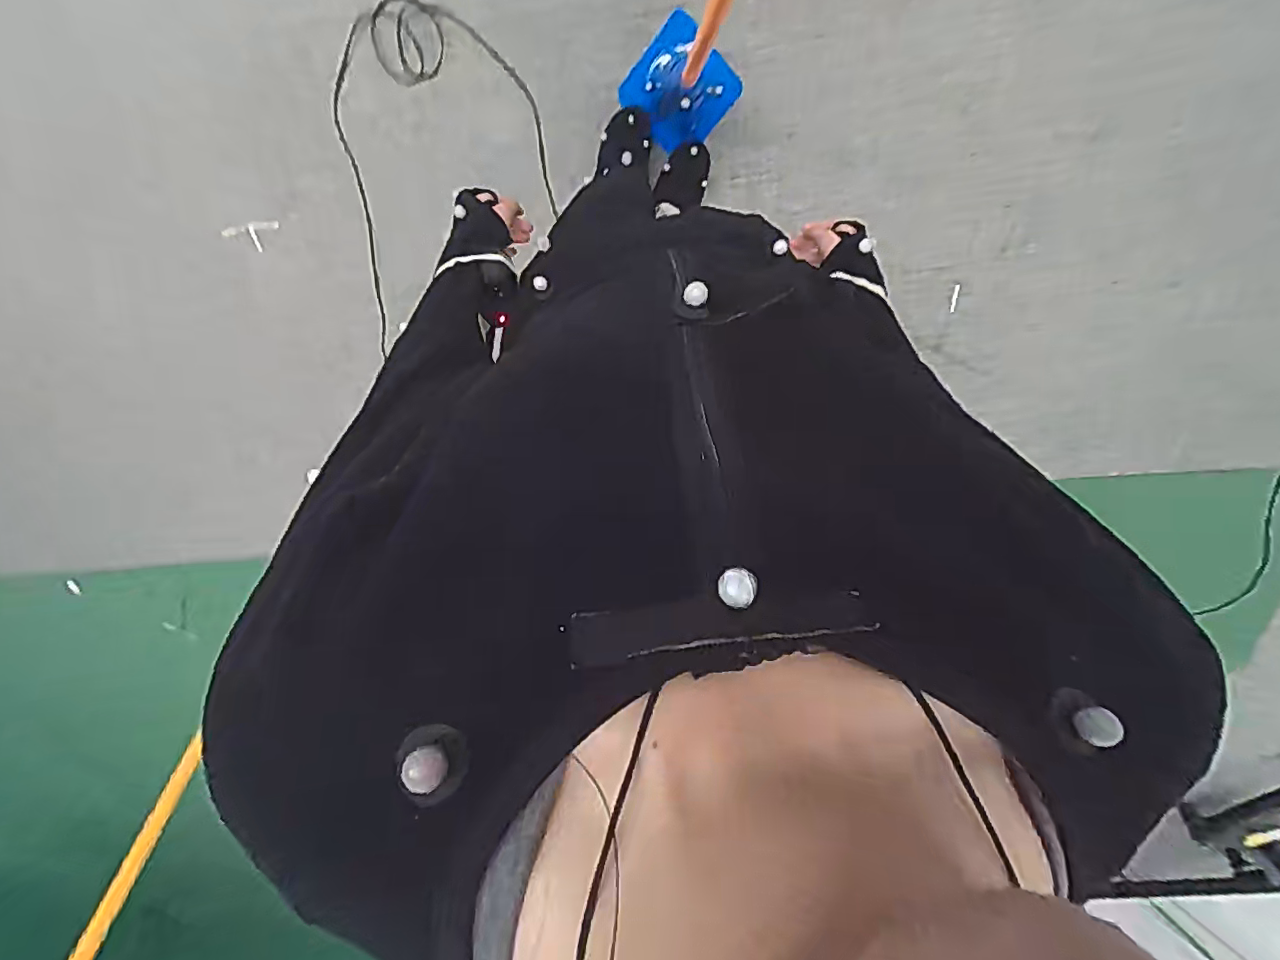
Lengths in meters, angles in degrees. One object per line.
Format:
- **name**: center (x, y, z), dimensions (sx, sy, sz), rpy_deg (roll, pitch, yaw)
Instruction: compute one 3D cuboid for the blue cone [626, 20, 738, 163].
- **blue cone**: center (0.085, -0.710, 0.979), dimensions (0.192, 0.380, 0.193), rpy_deg (37, 116, -21)
